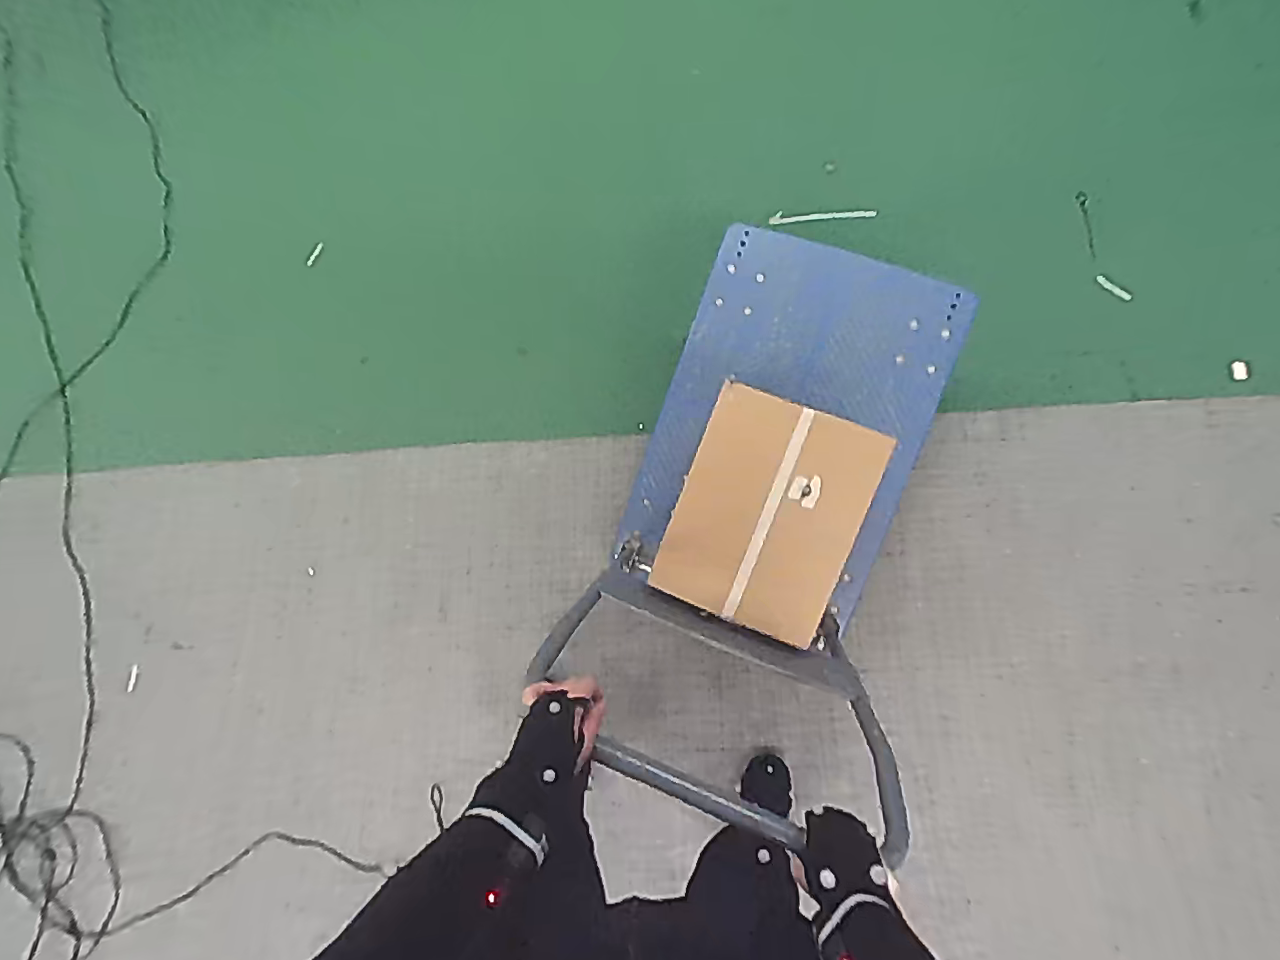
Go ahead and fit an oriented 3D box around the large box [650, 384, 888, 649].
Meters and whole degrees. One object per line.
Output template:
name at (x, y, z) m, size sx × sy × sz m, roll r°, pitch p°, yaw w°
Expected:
large box at (0.249, 0.064, 1.112) m, size 0.320 × 0.320 × 0.408 m, roll 22°, pitch 94°, yaw 8°
